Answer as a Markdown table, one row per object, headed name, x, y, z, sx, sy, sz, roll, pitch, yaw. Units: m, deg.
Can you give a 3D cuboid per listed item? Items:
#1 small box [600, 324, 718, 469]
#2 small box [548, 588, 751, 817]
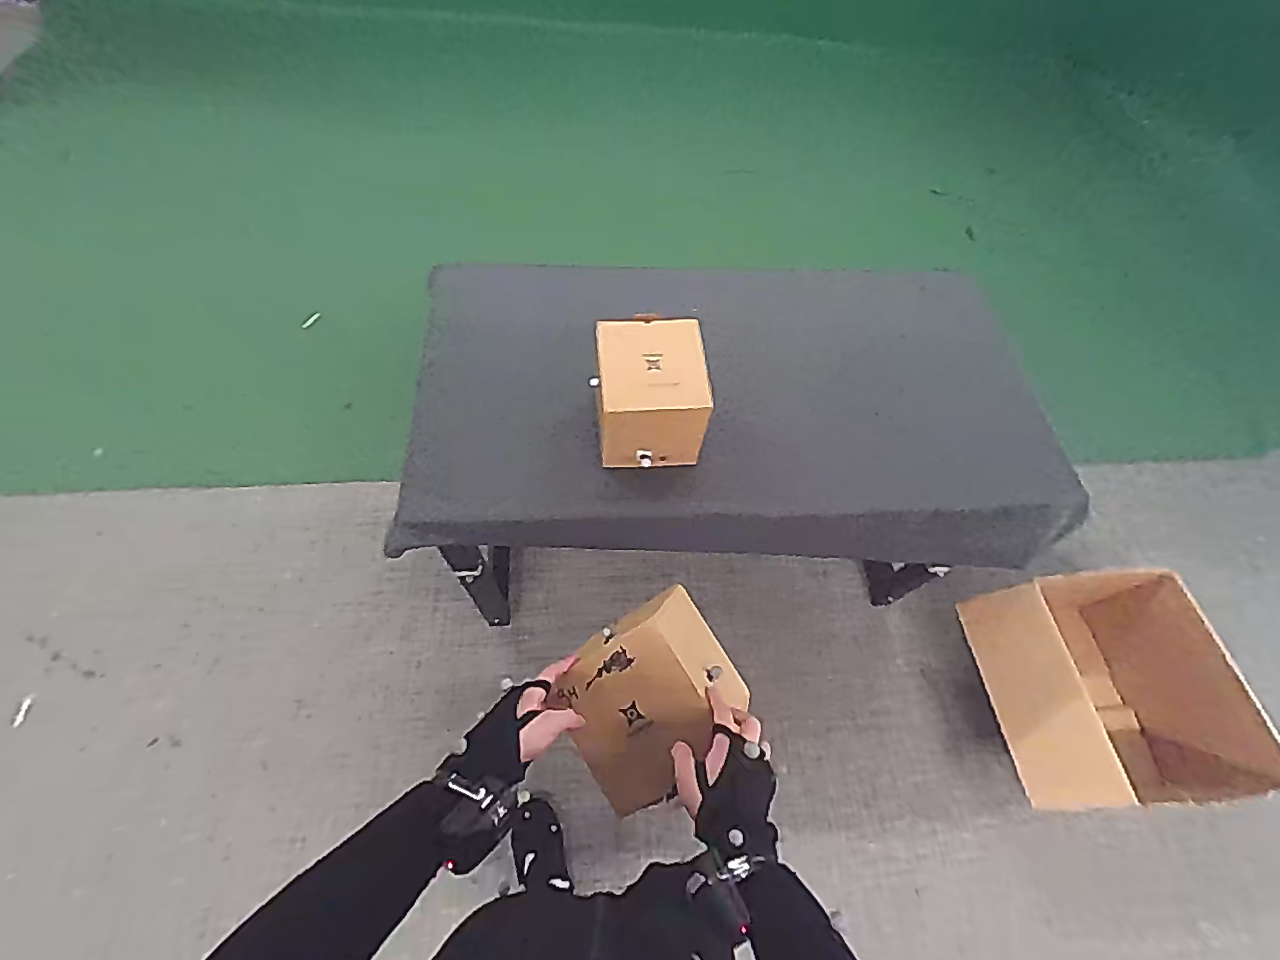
| name | x | y | z | sx | sy | sz | roll | pitch | yaw |
| --- | --- | --- | --- | --- | --- | --- | --- | --- | --- |
| small box | 0.021 | -0.137 | 0.905 | 0.168 | 0.176 | 0.179 | -4 | 61 | -7 |
| small box | 0.024 | 0.260 | 0.671 | 0.168 | 0.176 | 0.179 | -34 | 83 | 13 |
